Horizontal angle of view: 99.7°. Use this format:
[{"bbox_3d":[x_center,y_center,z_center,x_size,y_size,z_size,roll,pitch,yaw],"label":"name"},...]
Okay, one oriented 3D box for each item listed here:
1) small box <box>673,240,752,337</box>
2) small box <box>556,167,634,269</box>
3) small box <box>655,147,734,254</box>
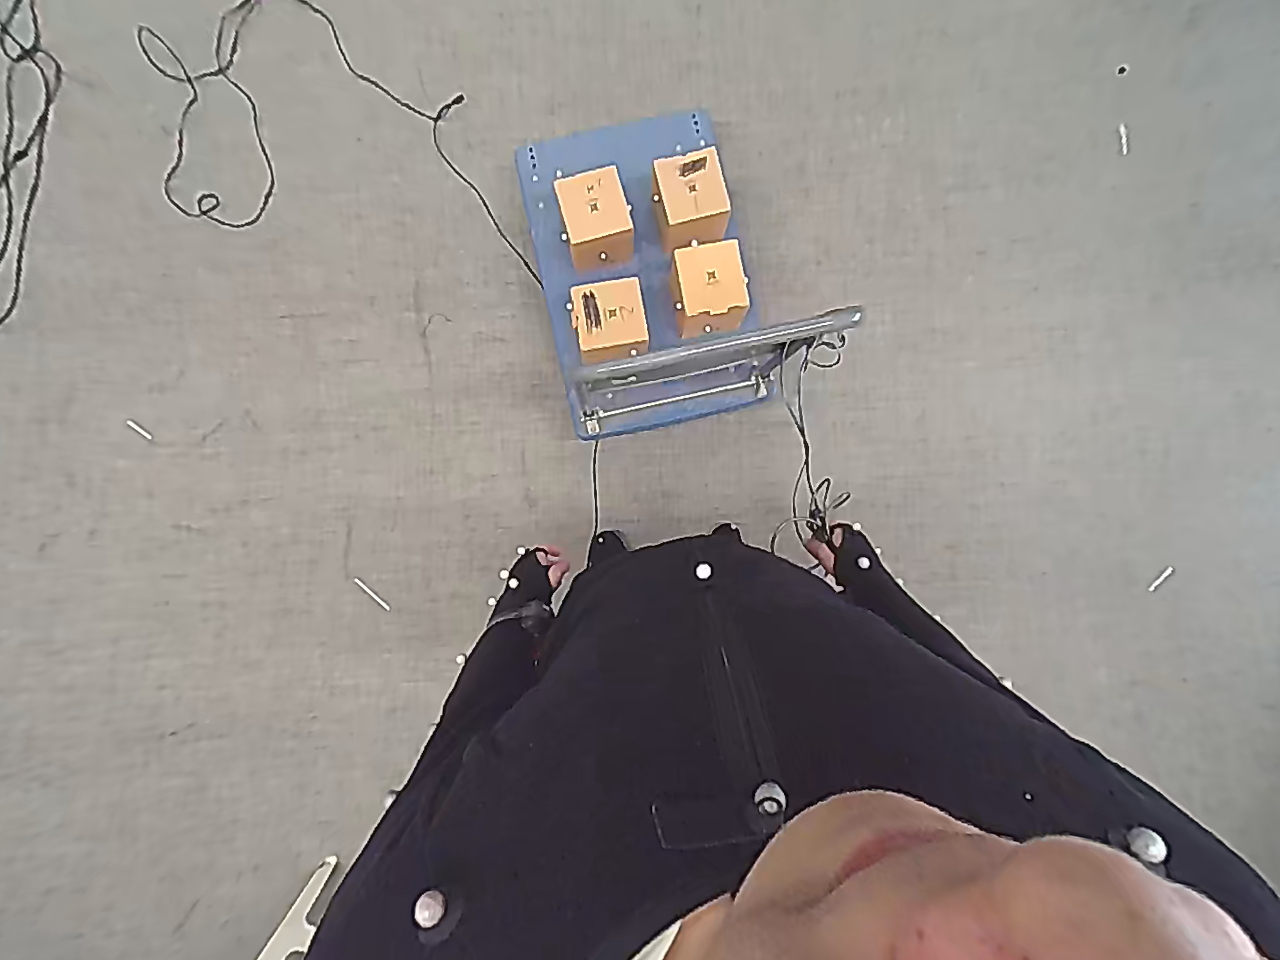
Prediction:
[{"bbox_3d":[0.185,-0.501,1.431,0.168,0.176,0.179,-11,87,-1],"label":"small box"},{"bbox_3d":[-0.113,-0.685,1.440,0.168,0.176,0.179,-16,87,-2],"label":"small box"},{"bbox_3d":[0.138,-0.738,1.443,0.168,0.176,0.179,-14,88,0],"label":"small box"}]
